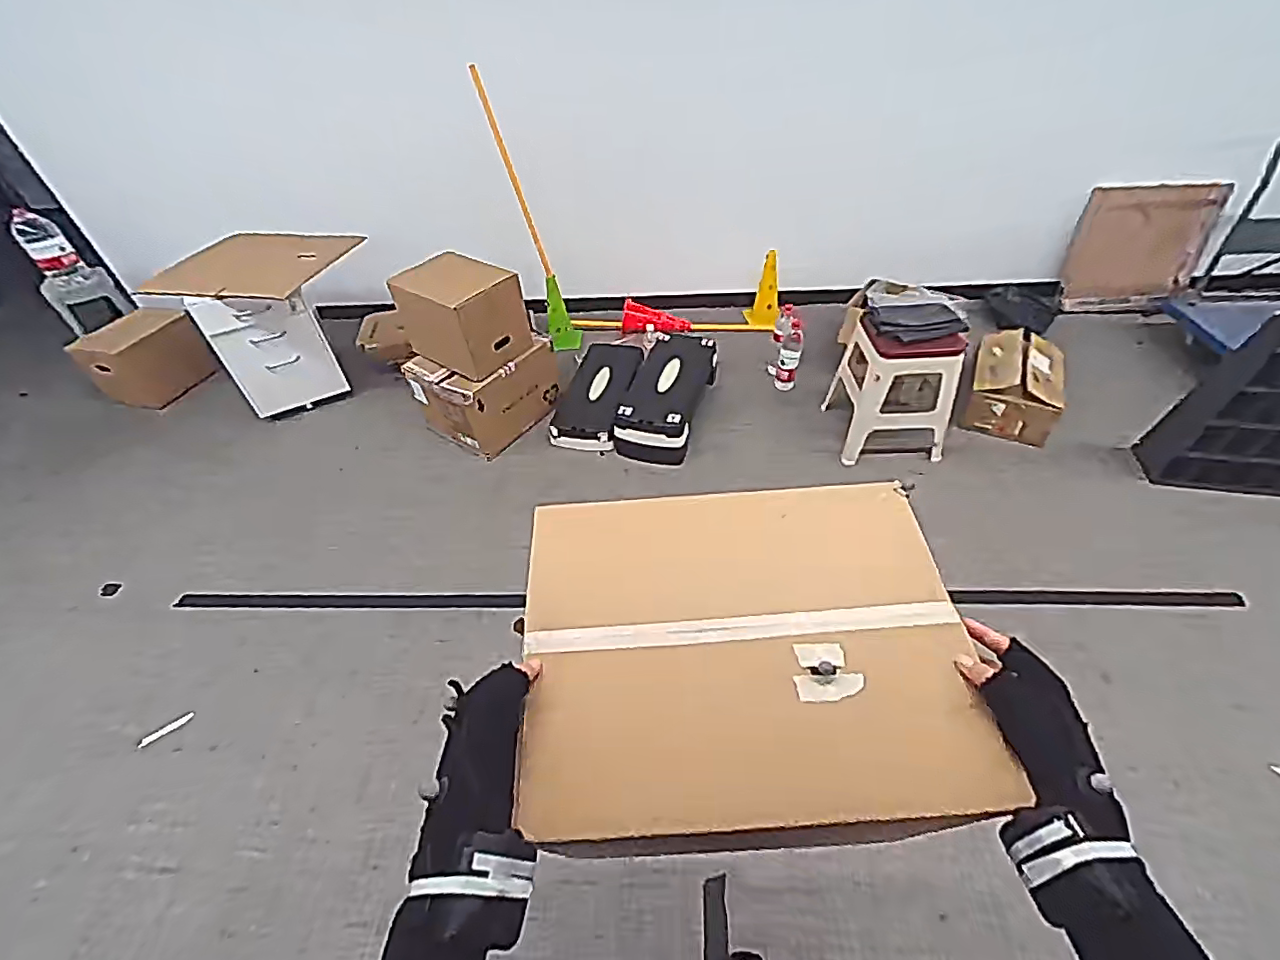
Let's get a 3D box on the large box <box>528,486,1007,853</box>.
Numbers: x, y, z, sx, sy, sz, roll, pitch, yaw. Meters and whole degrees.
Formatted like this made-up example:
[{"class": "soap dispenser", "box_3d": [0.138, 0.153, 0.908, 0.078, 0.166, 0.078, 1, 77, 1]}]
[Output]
[{"class": "large box", "box_3d": [0.099, 0.234, 0.645, 0.408, 0.320, 0.320, -4, 54, 0]}]
